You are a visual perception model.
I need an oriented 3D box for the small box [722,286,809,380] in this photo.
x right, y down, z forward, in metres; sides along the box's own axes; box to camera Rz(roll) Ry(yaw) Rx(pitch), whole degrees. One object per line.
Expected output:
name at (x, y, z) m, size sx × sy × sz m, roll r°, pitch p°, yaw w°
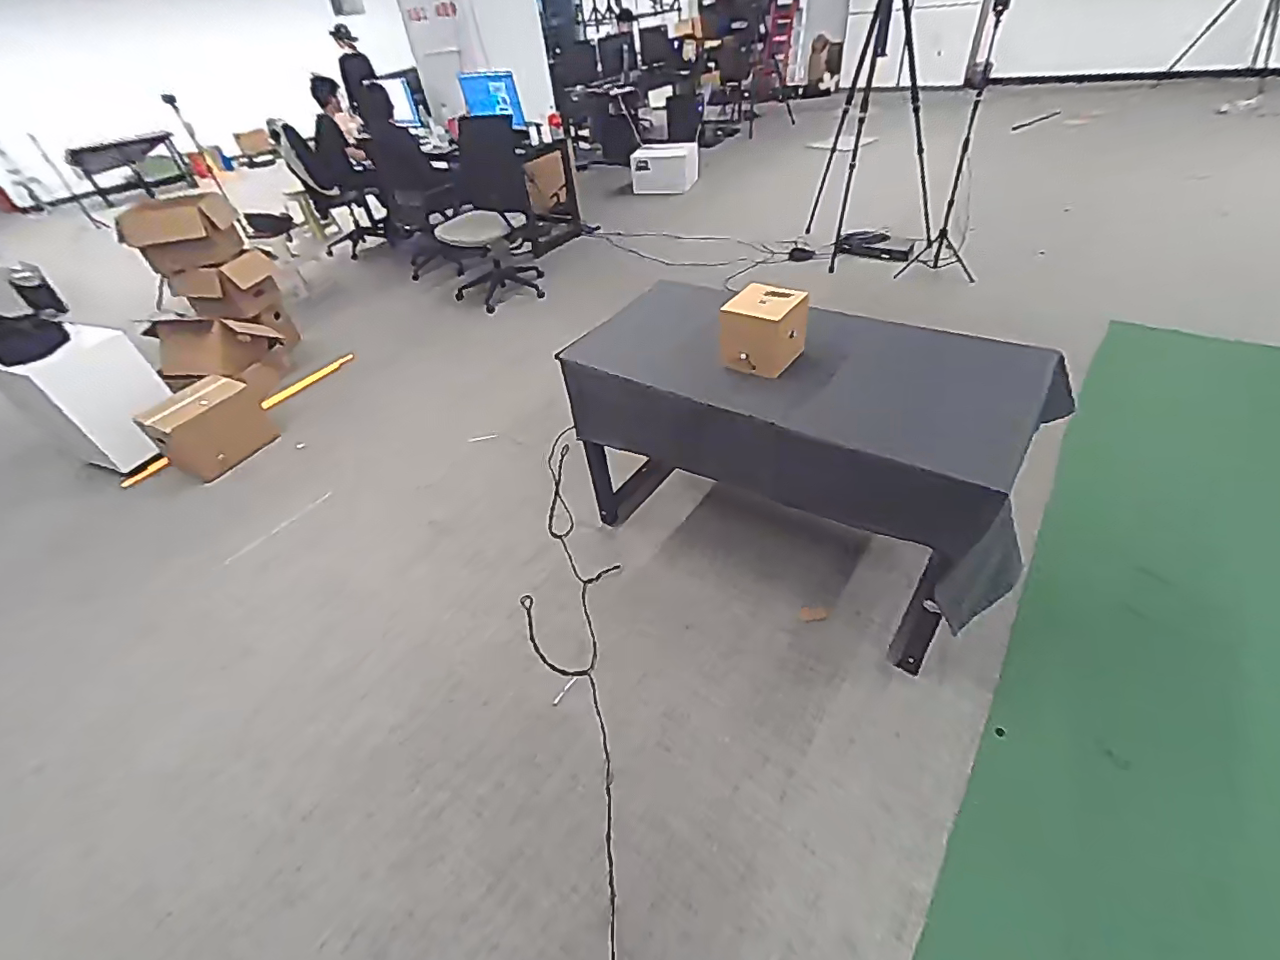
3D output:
small box at (0.331, -0.393, 1.443) m, size 0.168 × 0.176 × 0.179 m, roll 23°, pitch 50°, yaw 31°
